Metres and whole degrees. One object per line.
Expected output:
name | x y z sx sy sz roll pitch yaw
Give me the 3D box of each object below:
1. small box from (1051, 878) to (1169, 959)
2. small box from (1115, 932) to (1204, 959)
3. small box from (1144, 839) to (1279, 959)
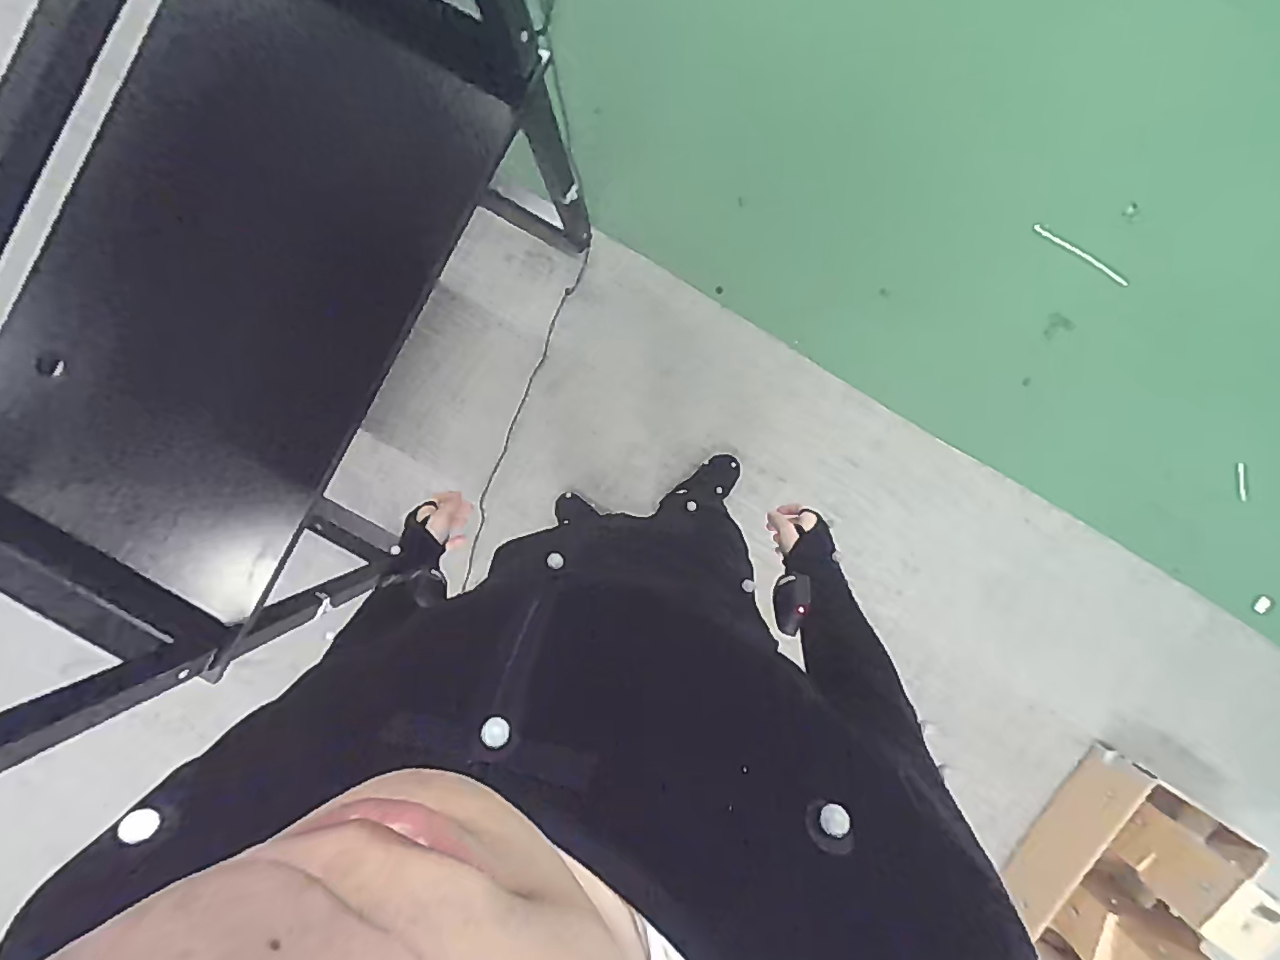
small box | 1.317 1.274 1.525 0.179 0.176 0.168 16 93 0
small box | 1.343 1.290 1.361 0.179 0.176 0.168 6 93 1
small box | 1.434 1.053 1.347 0.168 0.176 0.179 36 94 -1
